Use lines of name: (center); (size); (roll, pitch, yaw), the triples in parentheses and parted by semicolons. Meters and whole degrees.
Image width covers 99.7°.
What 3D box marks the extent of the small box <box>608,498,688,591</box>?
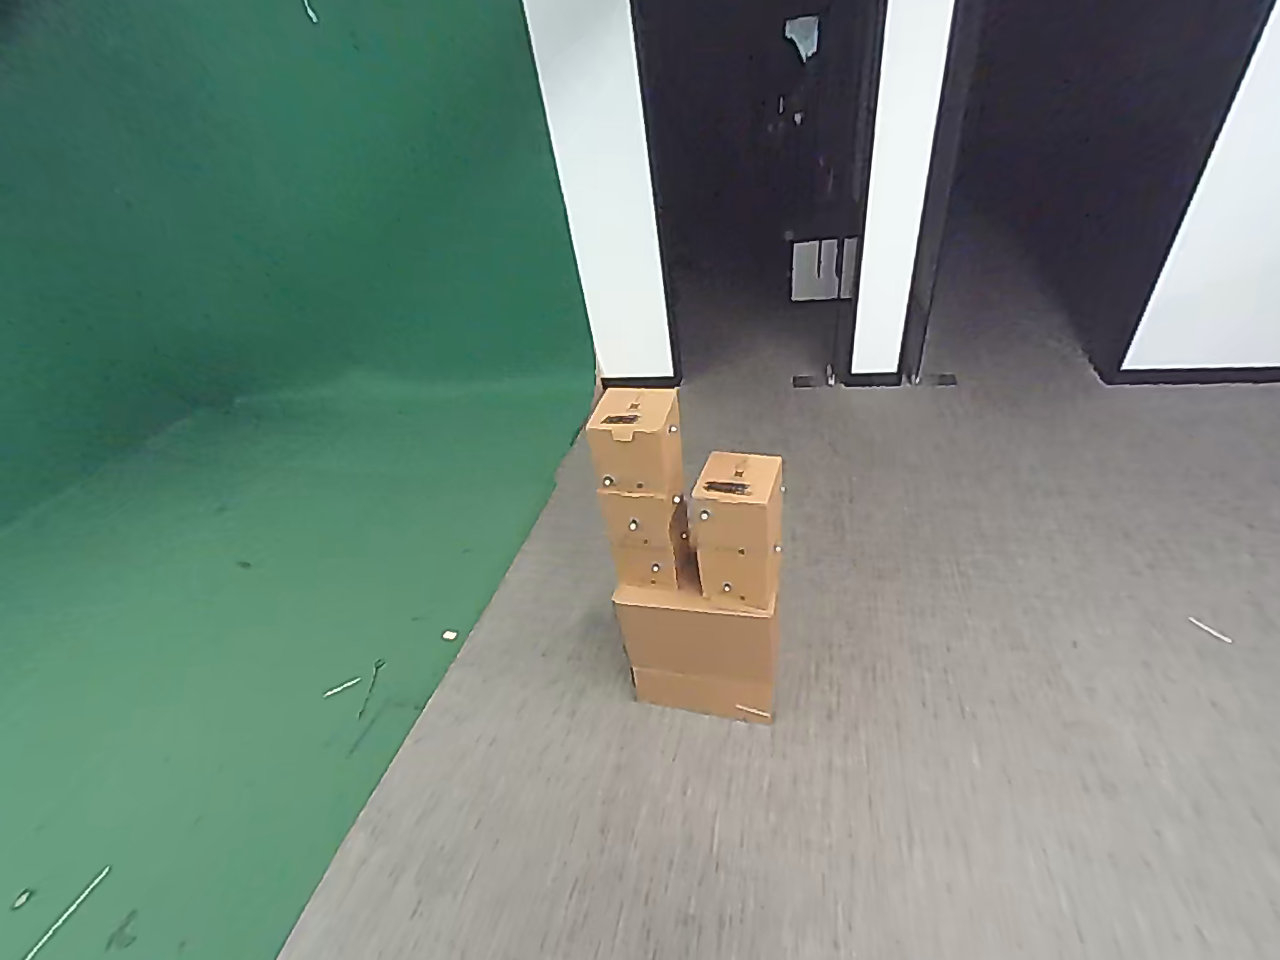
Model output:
small box: (0.029, 0.170, 1.424); (0.168, 0.176, 0.179); (5, 40, 16)

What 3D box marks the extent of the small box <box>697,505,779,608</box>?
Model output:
small box: (0.249, 0.188, 1.344); (0.168, 0.176, 0.179); (6, 40, 22)

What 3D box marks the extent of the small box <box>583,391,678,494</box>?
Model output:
small box: (-0.012, -0.085, 1.221); (0.168, 0.176, 0.179); (4, 38, 15)
